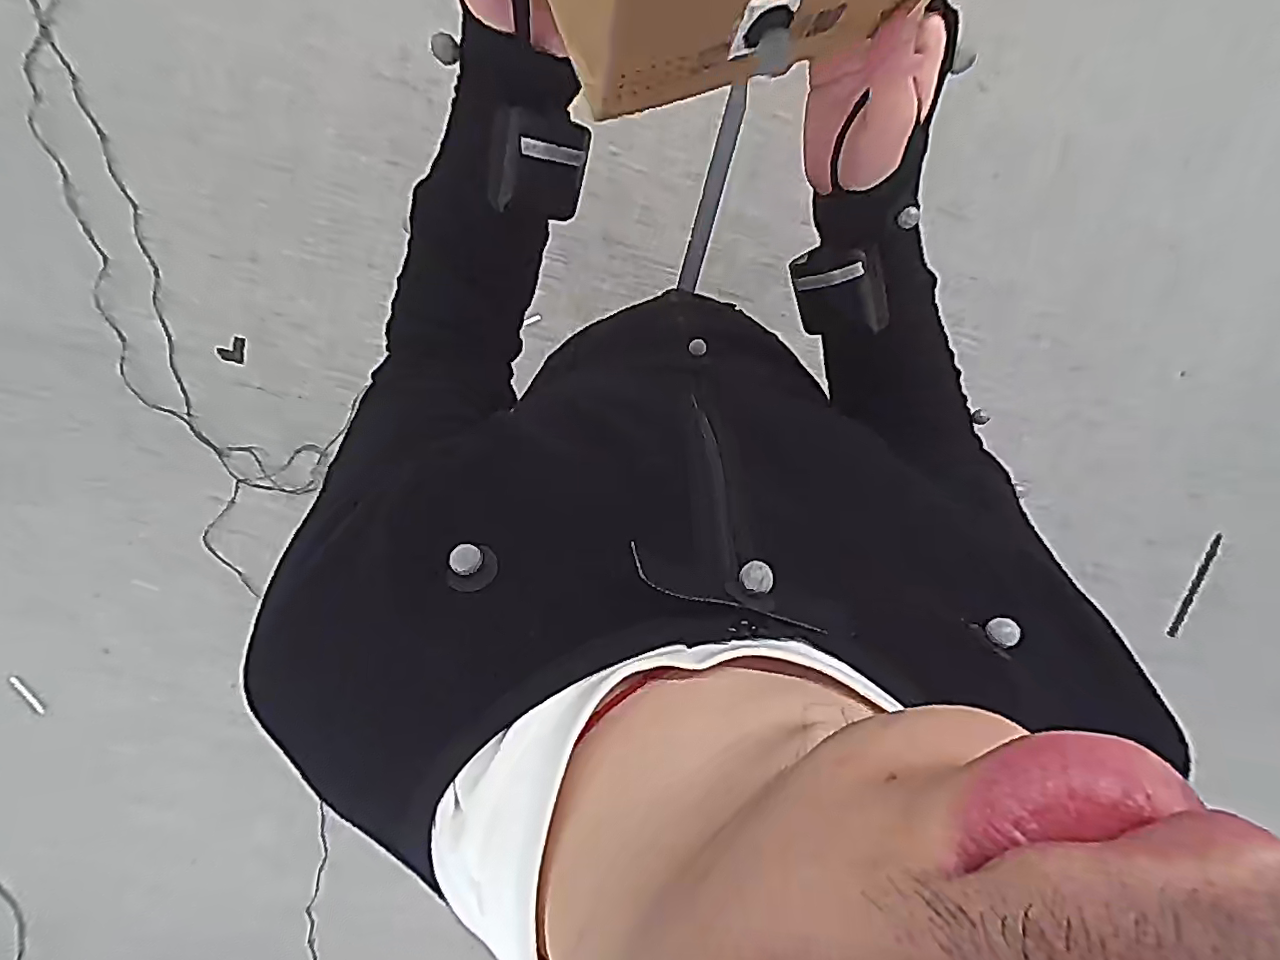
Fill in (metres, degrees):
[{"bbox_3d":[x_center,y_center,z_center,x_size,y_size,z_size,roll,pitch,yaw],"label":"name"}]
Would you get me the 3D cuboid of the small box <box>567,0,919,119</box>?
[{"bbox_3d":[0.041,-0.269,0.172,0.168,0.176,0.179,-25,97,-6],"label":"small box"}]
